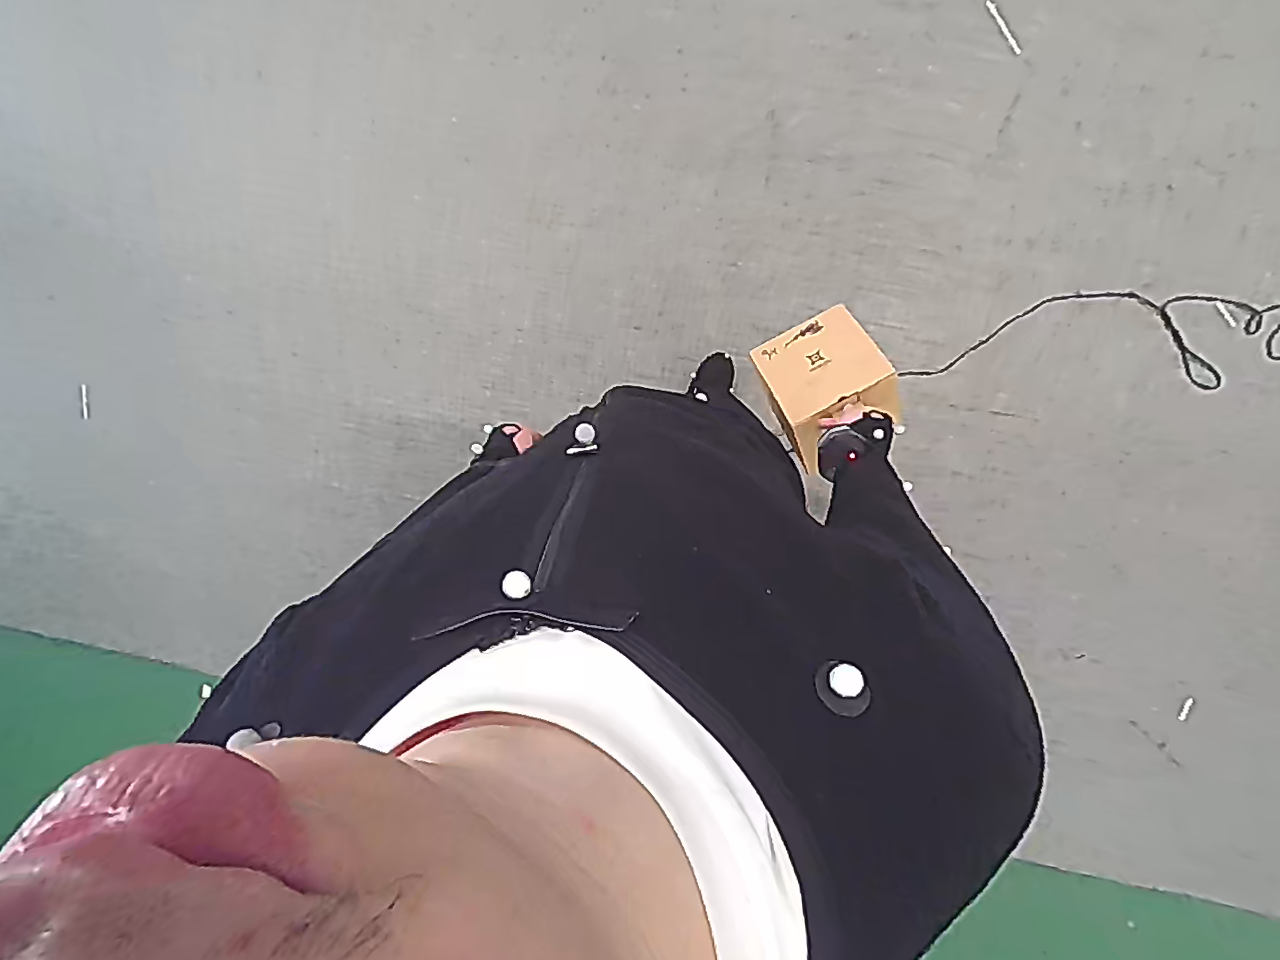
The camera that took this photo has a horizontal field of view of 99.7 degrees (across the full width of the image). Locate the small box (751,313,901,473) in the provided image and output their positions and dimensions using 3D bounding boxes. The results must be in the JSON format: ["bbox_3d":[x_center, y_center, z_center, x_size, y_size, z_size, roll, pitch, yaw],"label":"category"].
[{"bbox_3d":[0.314,-0.133,0.906,0.168,0.176,0.179,-30,52,12],"label":"small box"}]
